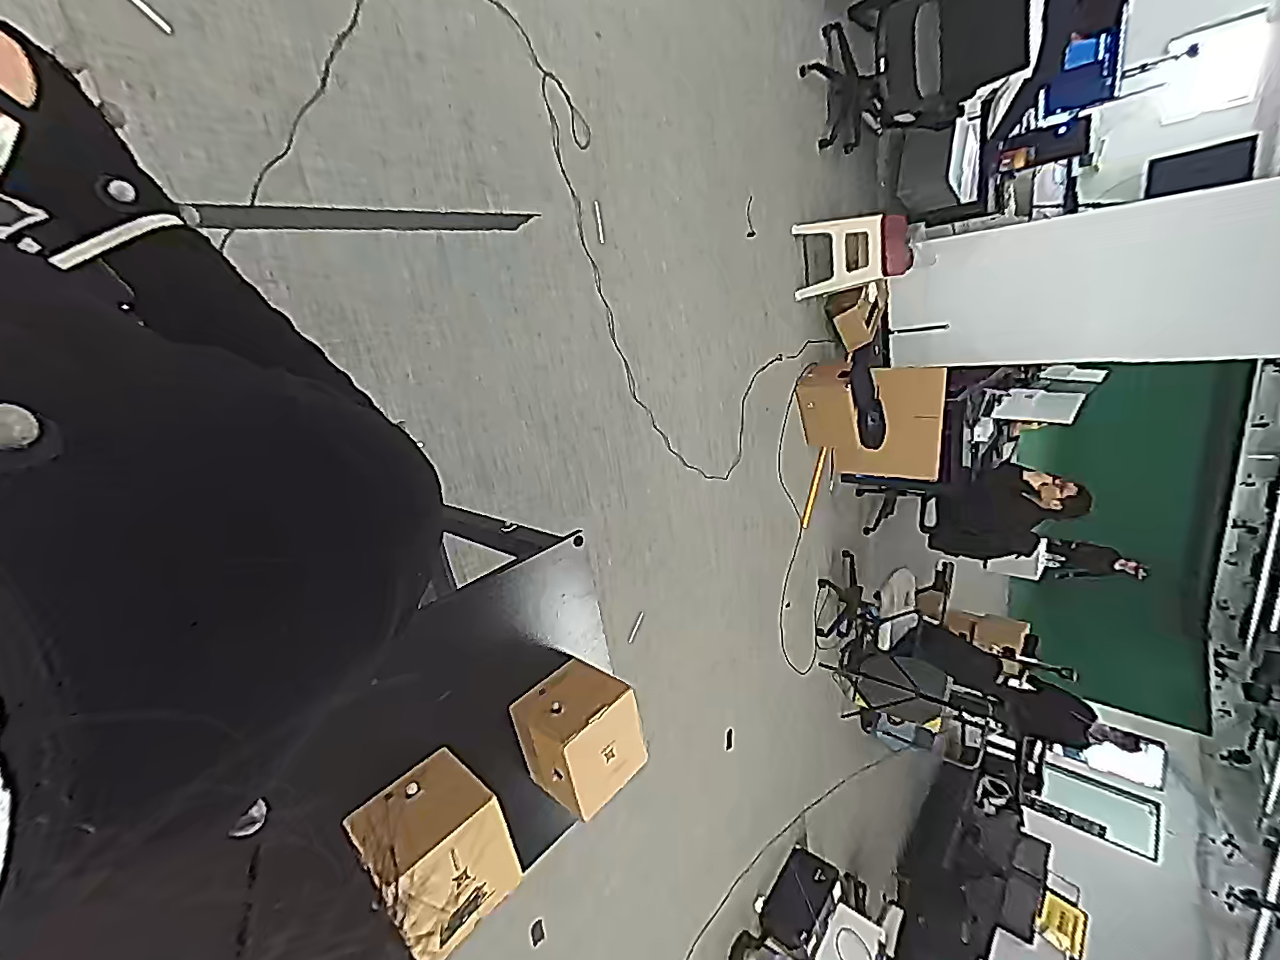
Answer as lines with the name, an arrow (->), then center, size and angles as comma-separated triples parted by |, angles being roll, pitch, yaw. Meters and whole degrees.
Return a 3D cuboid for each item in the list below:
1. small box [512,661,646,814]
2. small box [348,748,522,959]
small box -> -0.116, 0.465, 1.013 | 0.168, 0.176, 0.179 | -28, 116, -39
small box -> -0.309, 0.553, 0.820 | 0.168, 0.176, 0.179 | -28, 114, -41
